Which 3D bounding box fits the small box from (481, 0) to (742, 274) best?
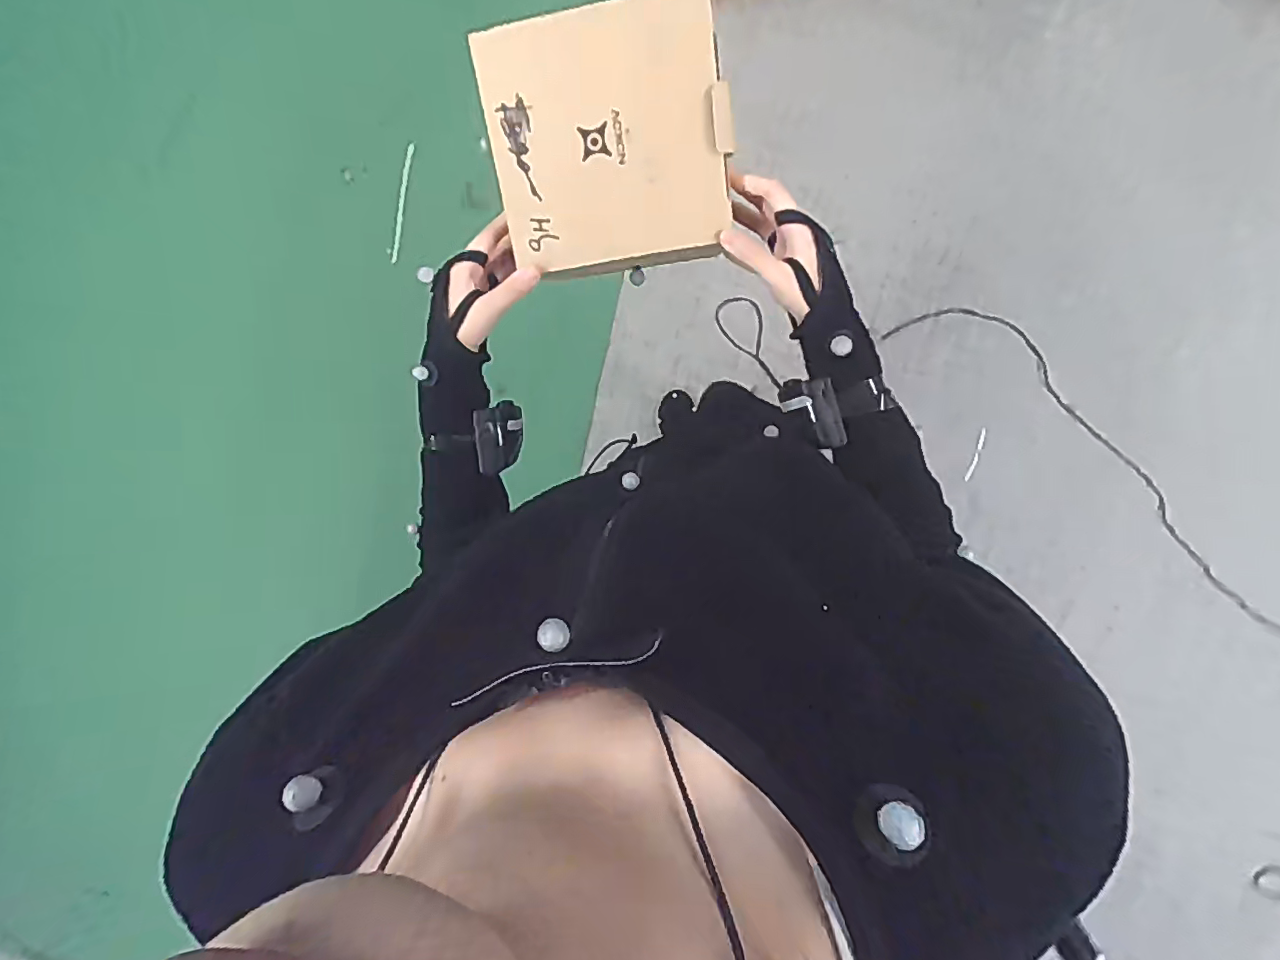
[{"bbox_3d":[-0.015,-0.278,0.470,0.179,0.176,0.168,-6,107,4],"label":"small box"}]
